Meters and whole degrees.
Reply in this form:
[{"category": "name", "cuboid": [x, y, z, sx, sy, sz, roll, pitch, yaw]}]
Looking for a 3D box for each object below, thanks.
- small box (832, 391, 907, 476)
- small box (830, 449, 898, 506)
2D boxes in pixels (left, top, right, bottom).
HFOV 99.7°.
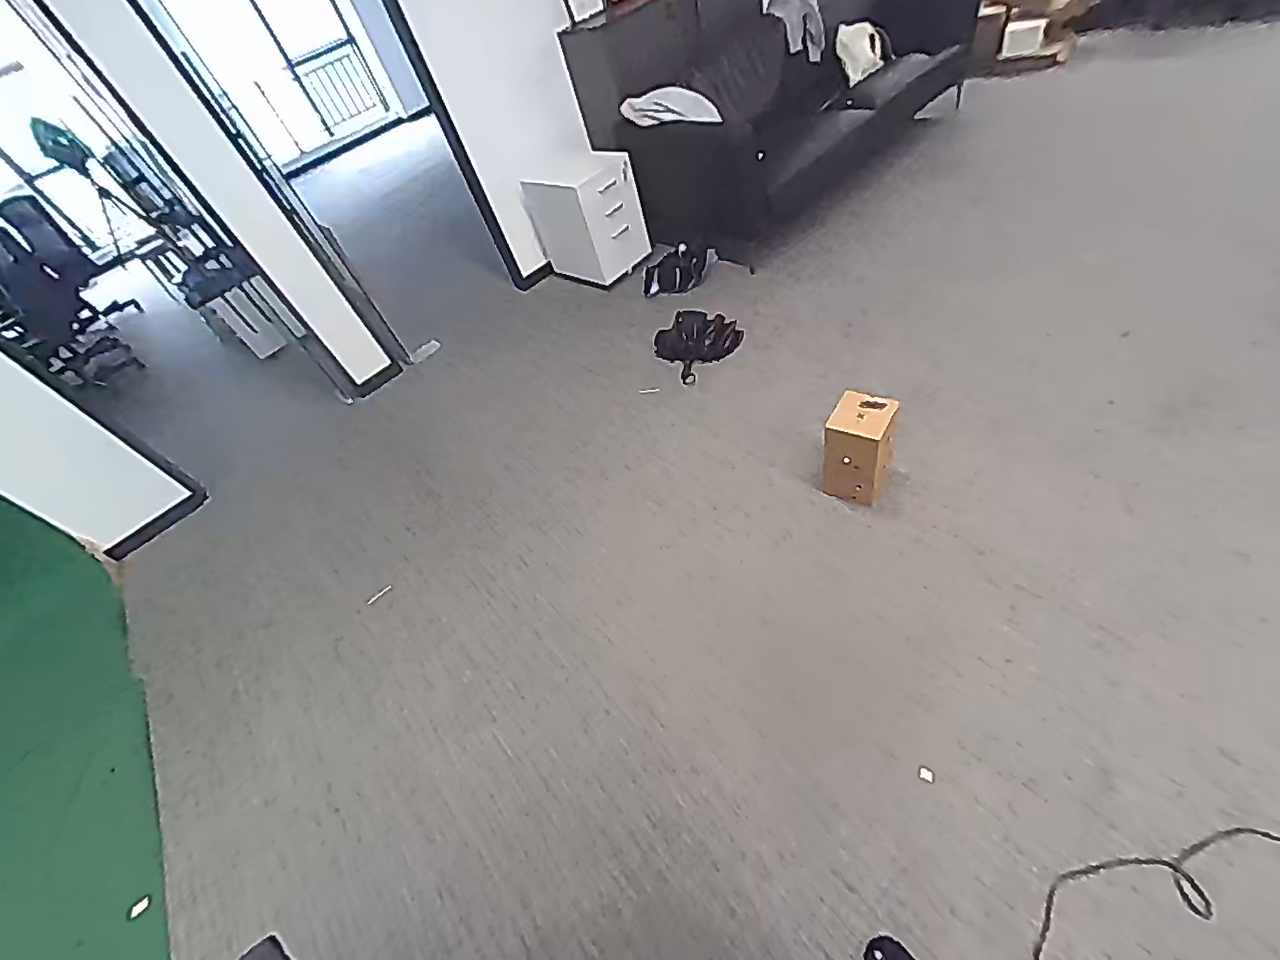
[{"category": "small box", "cuboid": [0.704, -0.144, 1.669, 0.168, 0.176, 0.179, 21, 61, 33]}, {"category": "small box", "cuboid": [0.745, -0.042, 1.792, 0.168, 0.176, 0.179, 20, 58, 32]}]
